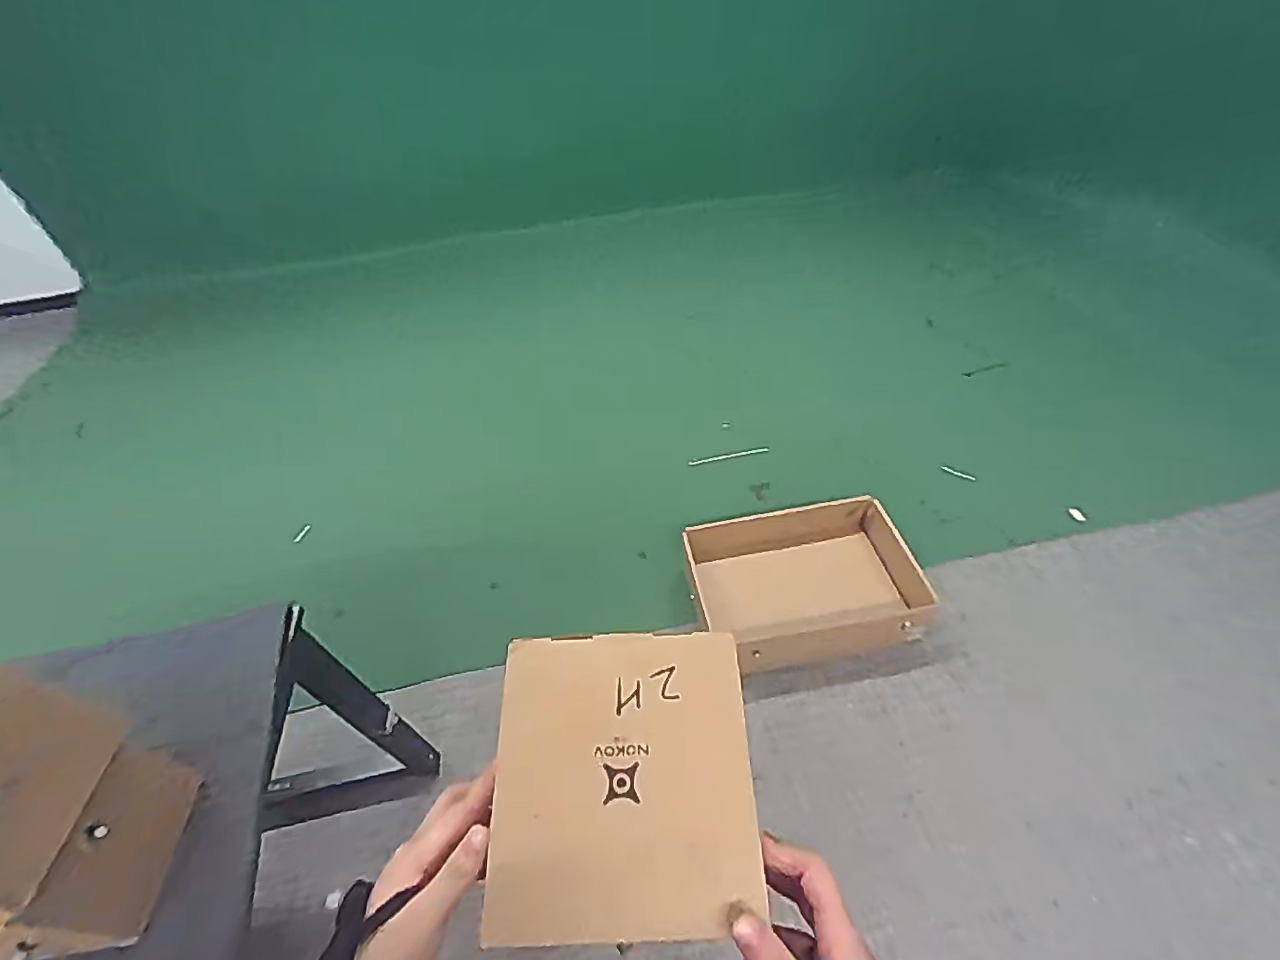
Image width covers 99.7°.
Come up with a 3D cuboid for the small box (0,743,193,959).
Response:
[{"bbox_3d":[-0.652,0.407,0.593,0.168,0.176,0.179,-8,46,-3],"label":"small box"}]

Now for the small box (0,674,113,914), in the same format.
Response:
[{"bbox_3d":[-0.649,0.283,0.483,0.168,0.176,0.179,-6,47,-1],"label":"small box"}]
